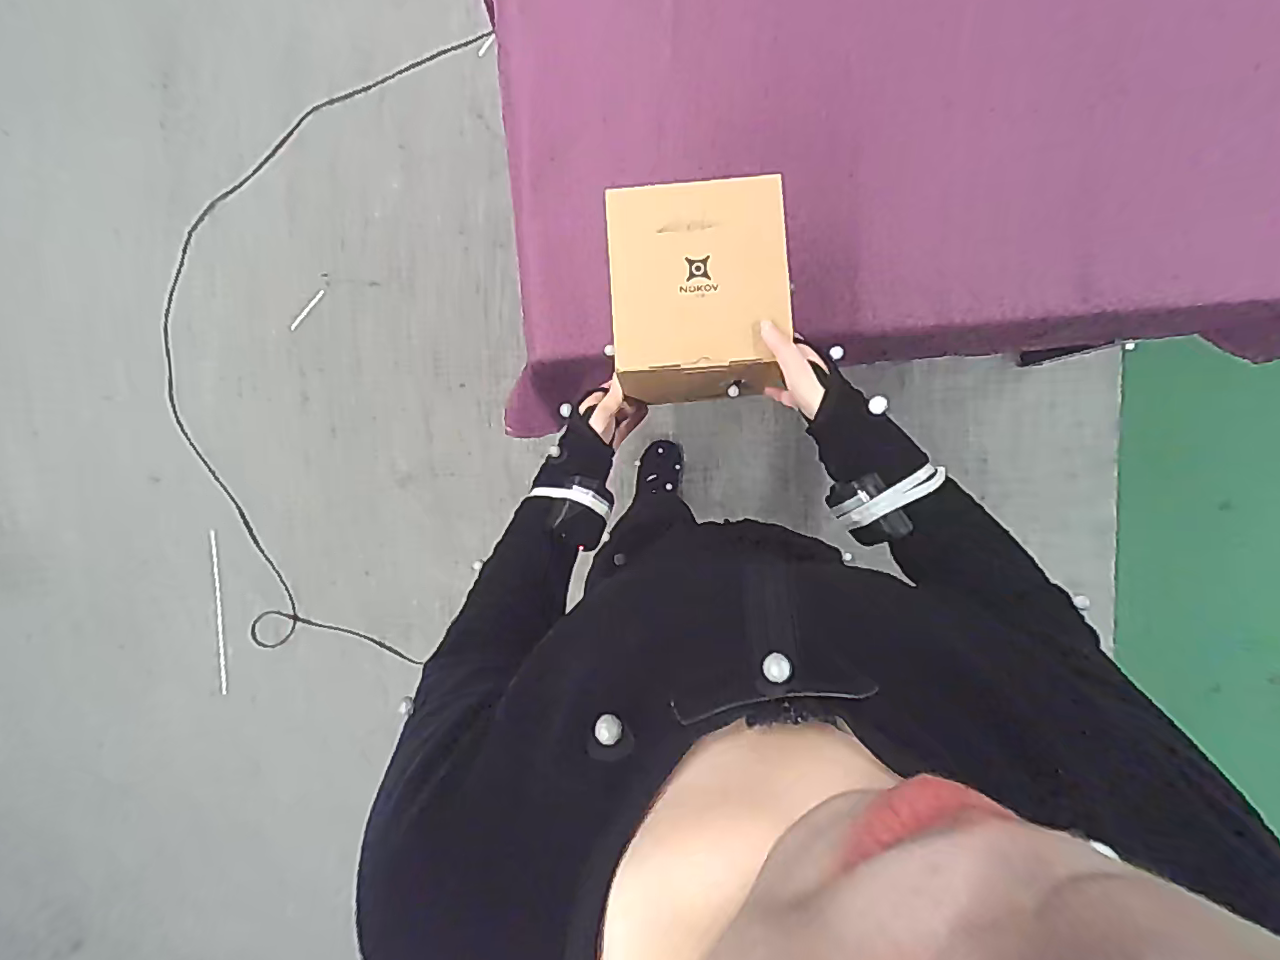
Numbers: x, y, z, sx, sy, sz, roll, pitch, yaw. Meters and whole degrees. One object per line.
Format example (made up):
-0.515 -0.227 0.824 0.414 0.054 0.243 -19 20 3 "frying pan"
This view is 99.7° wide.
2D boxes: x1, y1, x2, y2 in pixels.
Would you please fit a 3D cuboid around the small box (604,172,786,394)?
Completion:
0.054 -0.193 0.581 0.168 0.176 0.179 -3 86 2 "small box"
